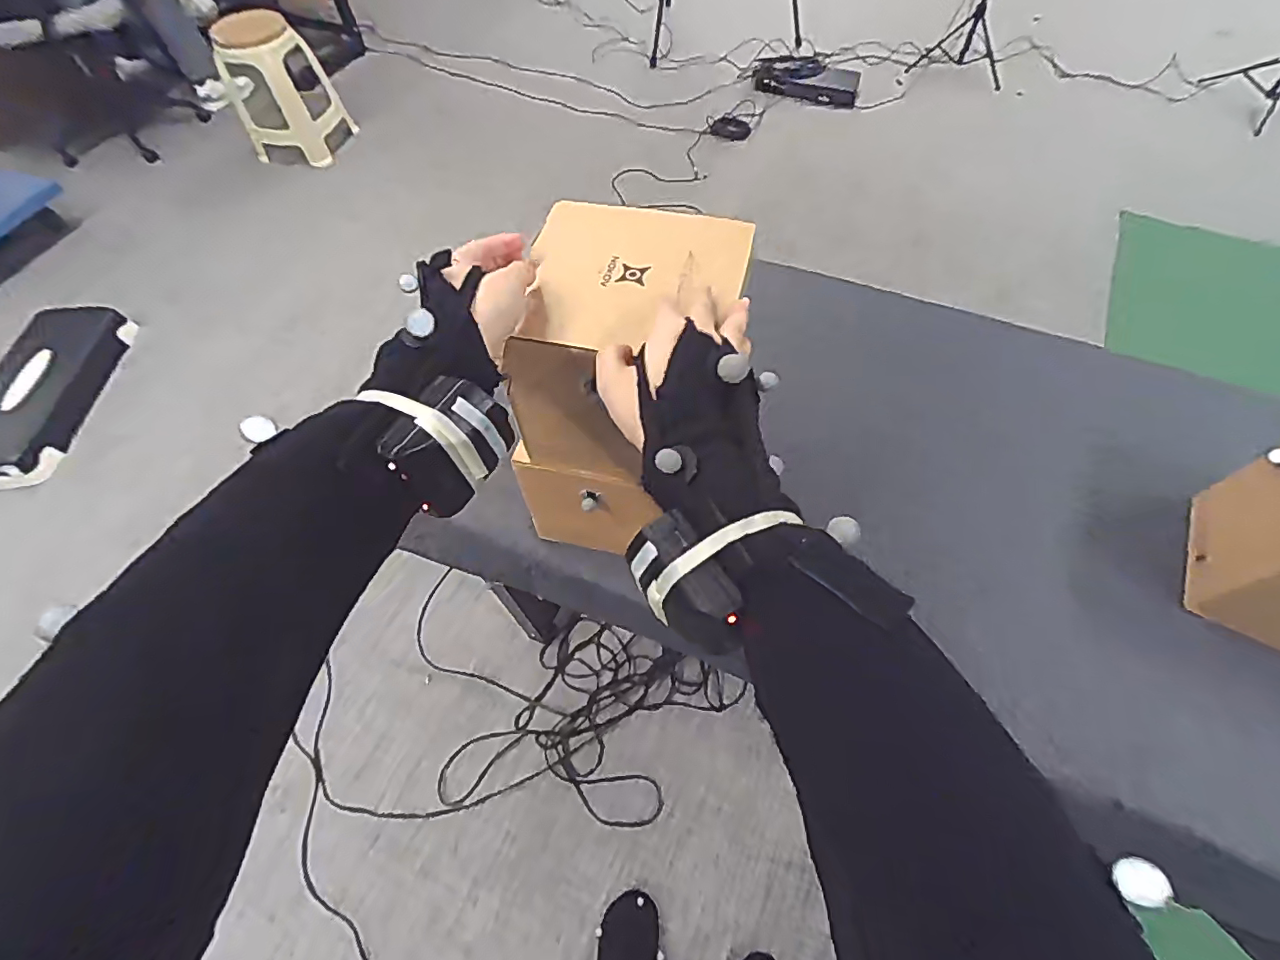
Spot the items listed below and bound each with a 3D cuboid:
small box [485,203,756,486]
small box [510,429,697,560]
[{"bbox_3d":[-0.006,-0.112,0.478,0.179,0.176,0.168,11,60,8],"label":"small box"},{"bbox_3d":[-0.020,-0.025,0.615,0.179,0.176,0.168,11,59,9],"label":"small box"}]
